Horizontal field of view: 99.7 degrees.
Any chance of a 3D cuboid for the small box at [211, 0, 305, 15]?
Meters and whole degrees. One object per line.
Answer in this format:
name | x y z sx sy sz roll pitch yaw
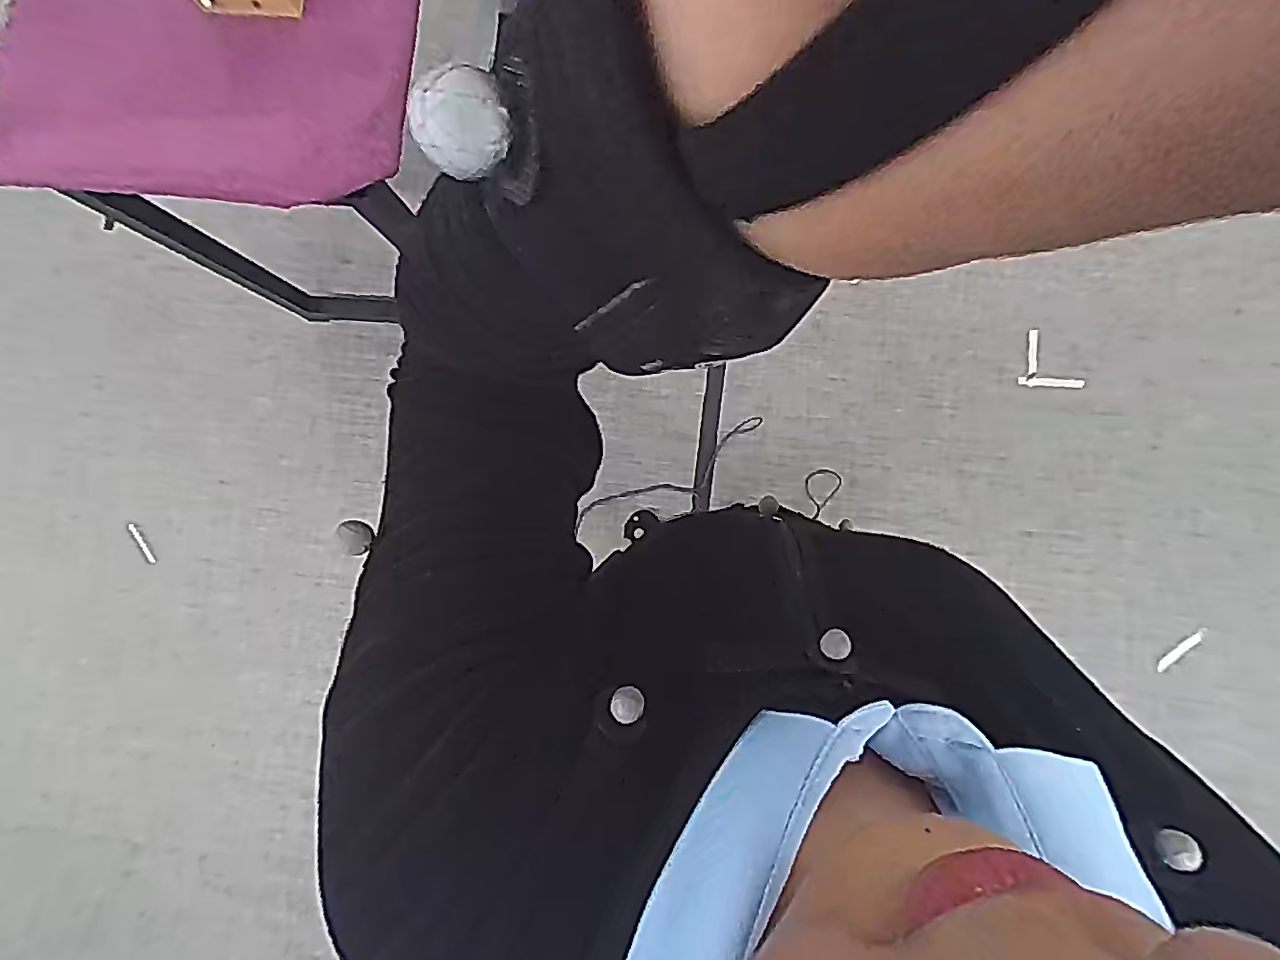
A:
small box | -0.597 -0.821 0.775 0.168 0.176 0.179 6 87 3
